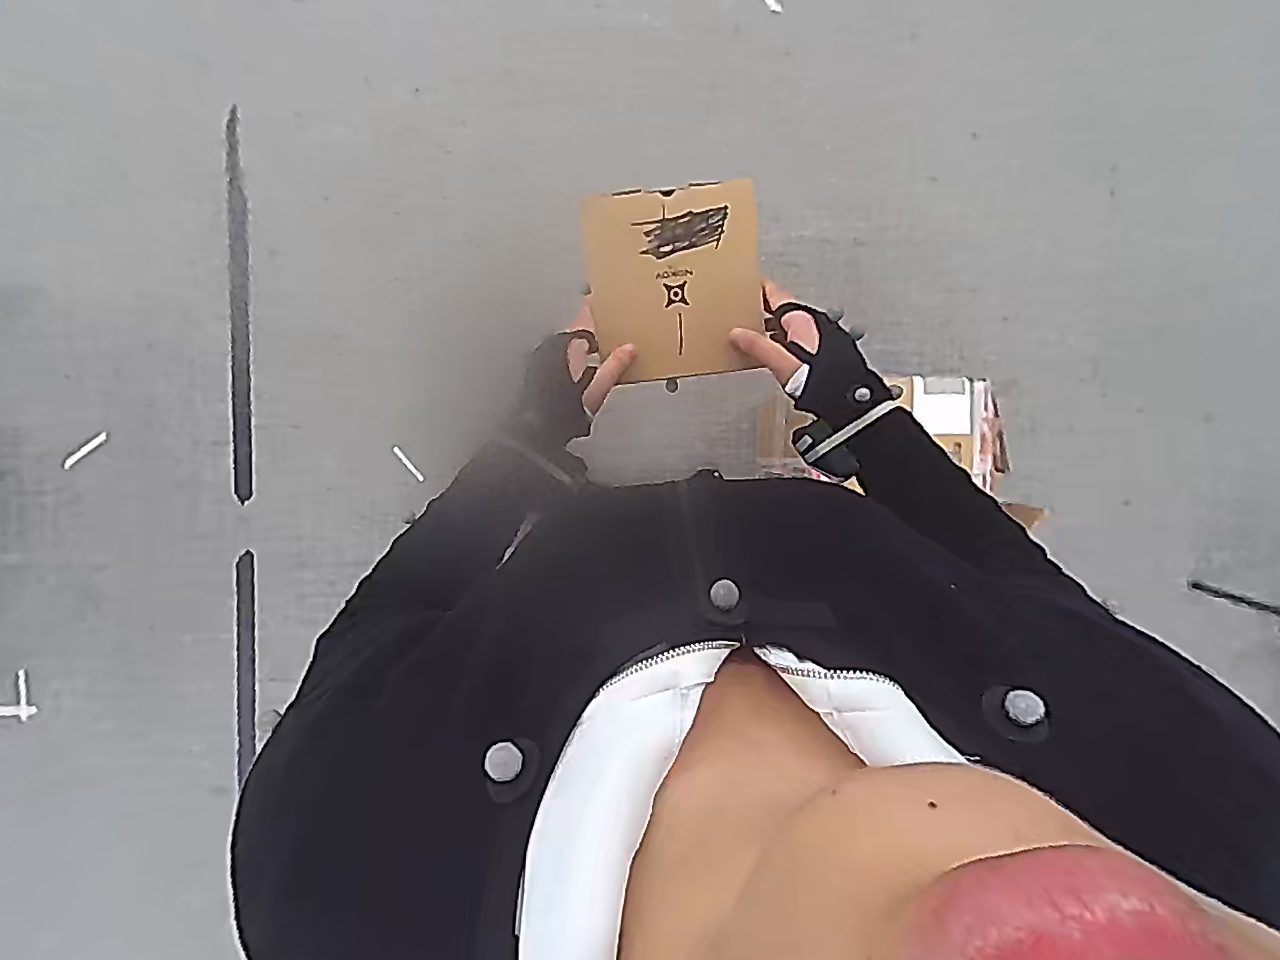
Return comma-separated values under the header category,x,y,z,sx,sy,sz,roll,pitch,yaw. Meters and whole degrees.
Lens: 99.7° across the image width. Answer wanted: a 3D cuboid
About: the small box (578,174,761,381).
category,x,y,z,sx,sy,sz,roll,pitch,yaw
small box,0.028,-0.206,0.597,0.168,0.176,0.179,-7,101,1
